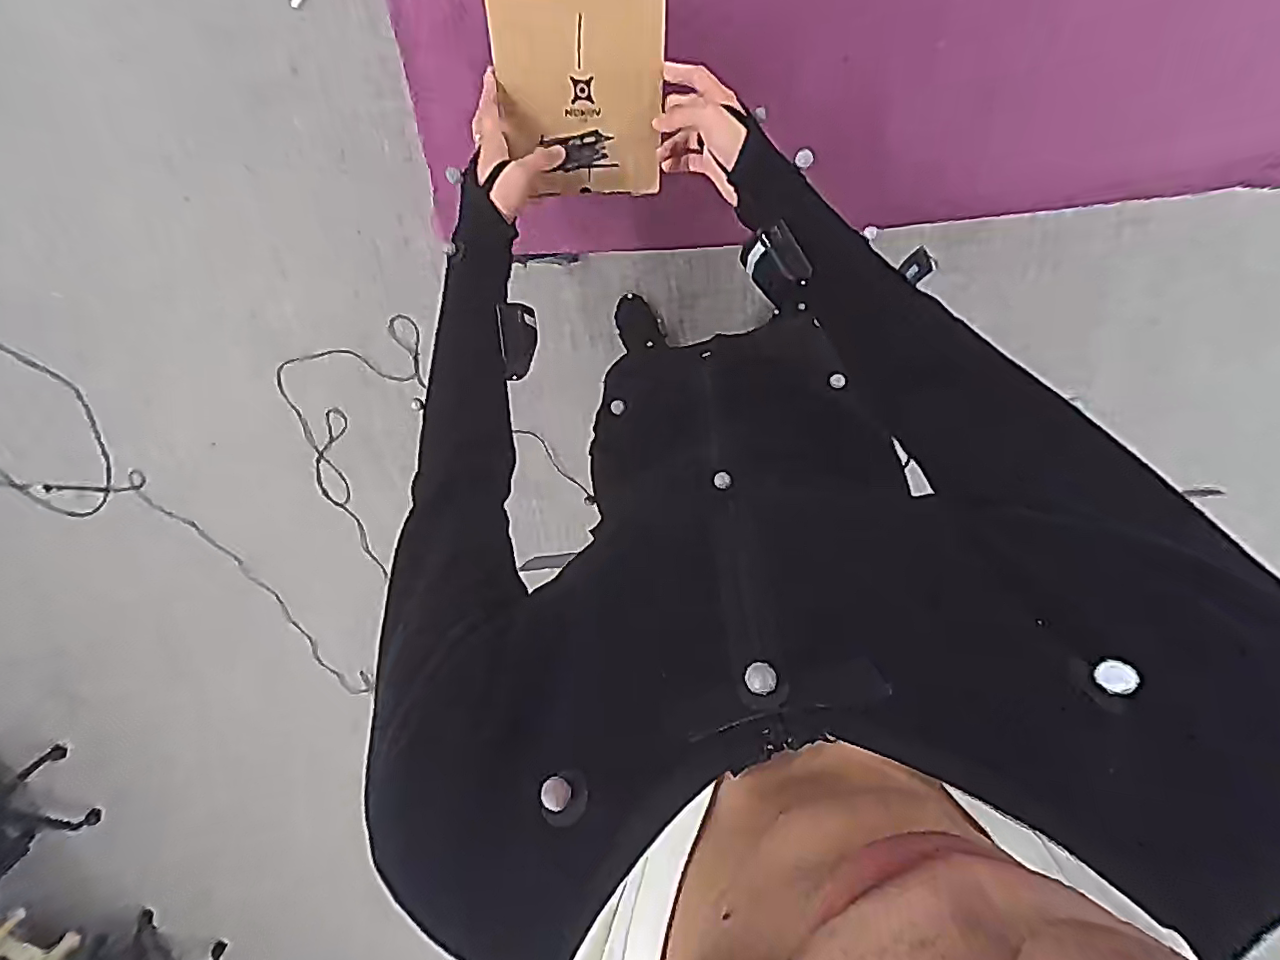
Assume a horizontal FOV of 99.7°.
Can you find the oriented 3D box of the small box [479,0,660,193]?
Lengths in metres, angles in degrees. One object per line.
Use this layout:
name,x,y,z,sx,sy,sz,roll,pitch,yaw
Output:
small box,-0.076,-0.437,0.595,0.168,0.176,0.179,-5,134,-7
